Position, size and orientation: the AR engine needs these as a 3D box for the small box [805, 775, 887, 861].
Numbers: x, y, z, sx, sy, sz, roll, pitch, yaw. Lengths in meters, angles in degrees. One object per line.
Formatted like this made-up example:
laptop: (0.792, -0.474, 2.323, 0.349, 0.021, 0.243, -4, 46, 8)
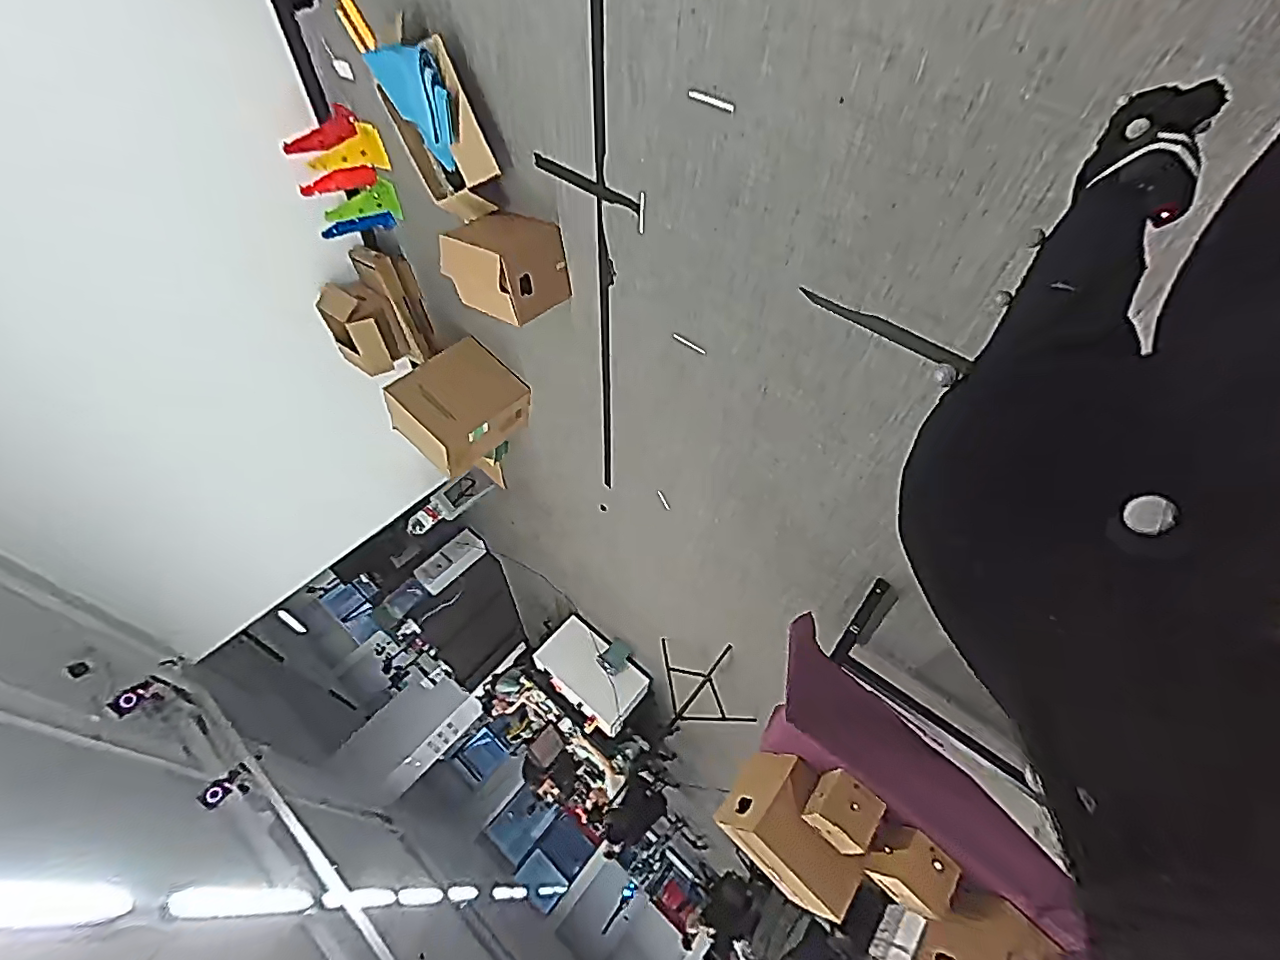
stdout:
small box: (0.666, 1.084, 1.741, 0.168, 0.176, 0.179, 37, 149, 21)
